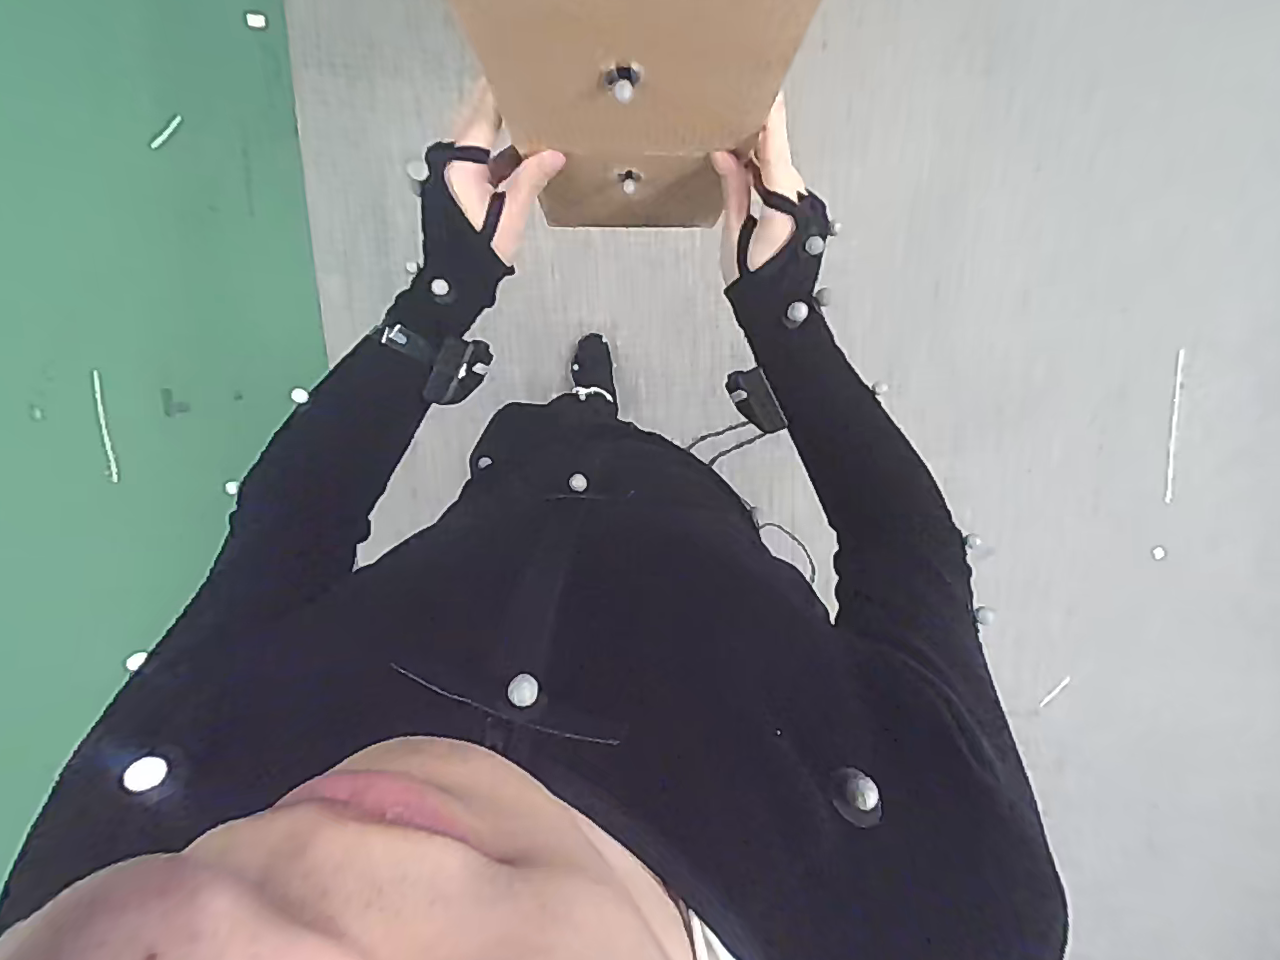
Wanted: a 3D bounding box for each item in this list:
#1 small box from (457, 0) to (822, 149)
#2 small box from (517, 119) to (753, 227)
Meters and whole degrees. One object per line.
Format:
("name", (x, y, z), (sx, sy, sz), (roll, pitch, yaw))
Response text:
("small box", (-0.001, -0.312, 0.305), (0.179, 0.176, 0.168), (0, 97, 0))
("small box", (-0.004, -0.332, 0.468), (0.179, 0.176, 0.168), (0, 97, -2))
